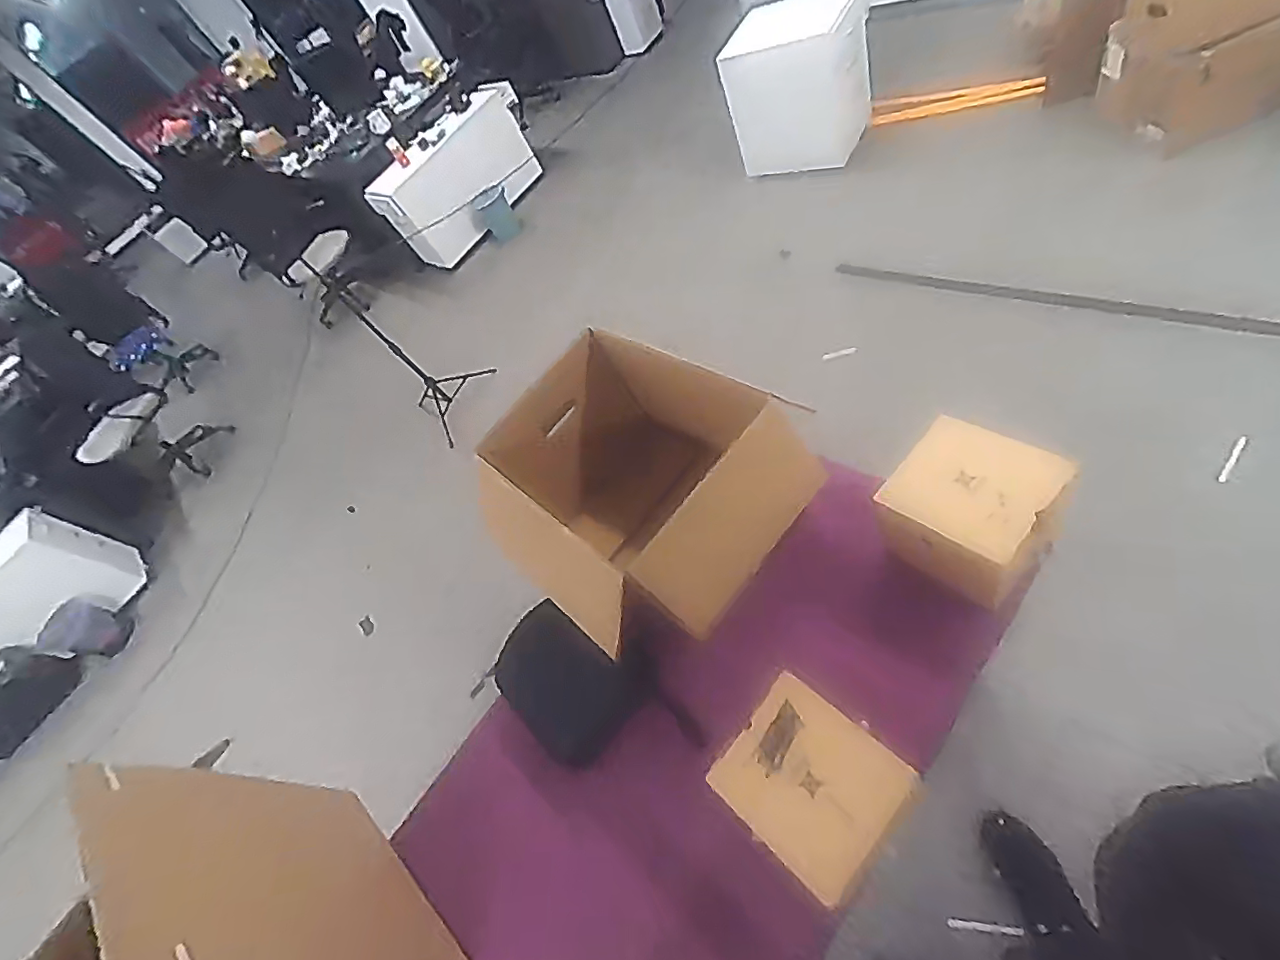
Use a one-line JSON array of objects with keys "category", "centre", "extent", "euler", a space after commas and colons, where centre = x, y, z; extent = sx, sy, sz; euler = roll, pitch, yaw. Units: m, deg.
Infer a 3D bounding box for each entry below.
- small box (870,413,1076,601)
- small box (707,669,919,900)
[{"category": "small box", "centre": [0.455, 0.042, 0.759], "extent": [0.168, 0.176, 0.179], "euler": [-48, 50, -7]}, {"category": "small box", "centre": [0.218, 0.371, 0.671], "extent": [0.179, 0.176, 0.168], "euler": [33, 79, 39]}]
